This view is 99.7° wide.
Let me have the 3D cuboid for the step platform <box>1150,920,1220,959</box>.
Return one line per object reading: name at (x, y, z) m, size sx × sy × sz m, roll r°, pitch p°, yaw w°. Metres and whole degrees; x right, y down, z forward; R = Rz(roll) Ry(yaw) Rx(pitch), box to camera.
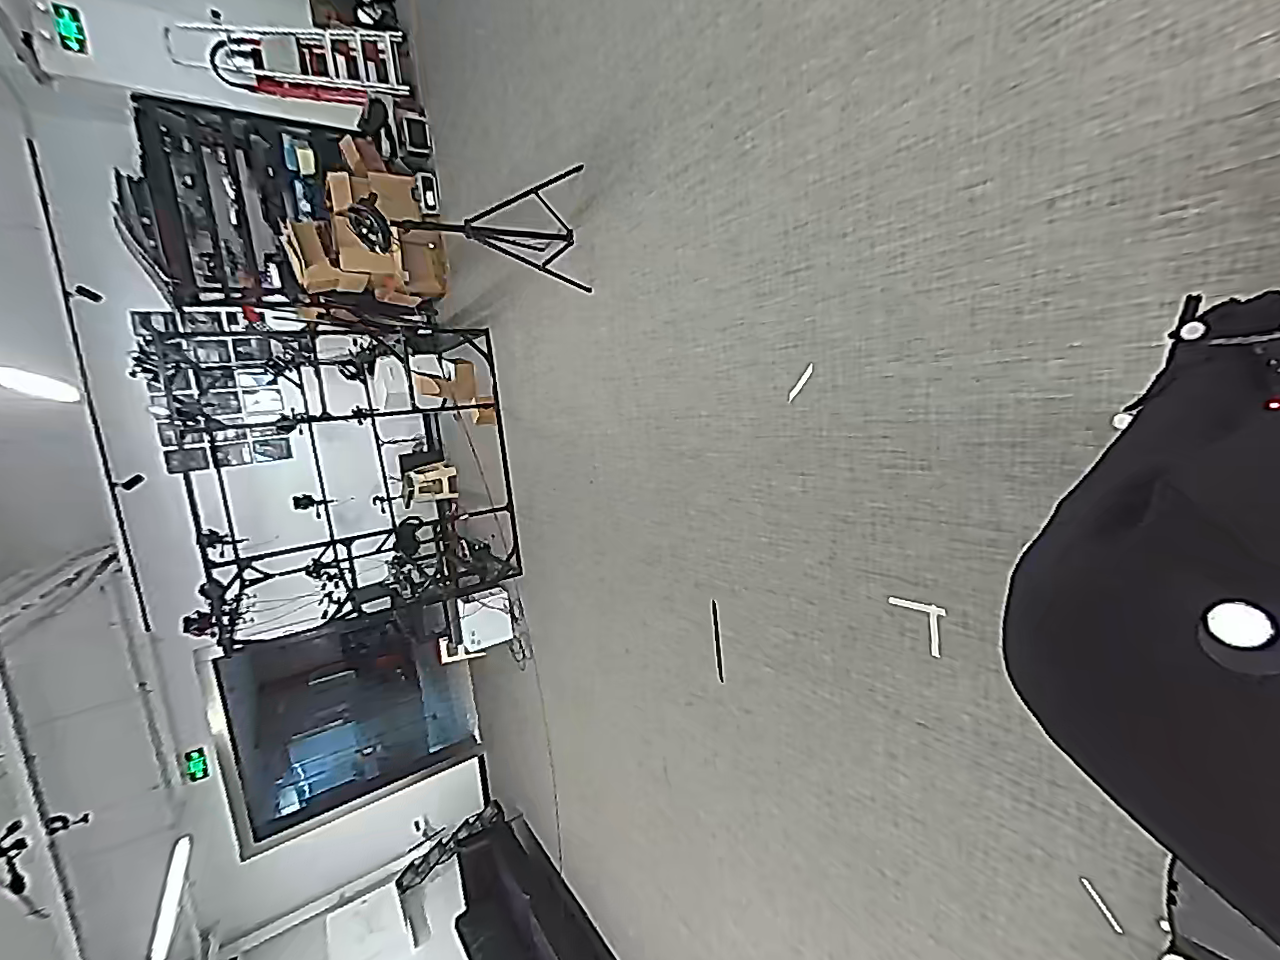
step platform at (1.321, 1.159, 0.929) m, size 0.684 × 0.204 × 0.286 m, roll 7°, pitch 105°, yaw 58°
